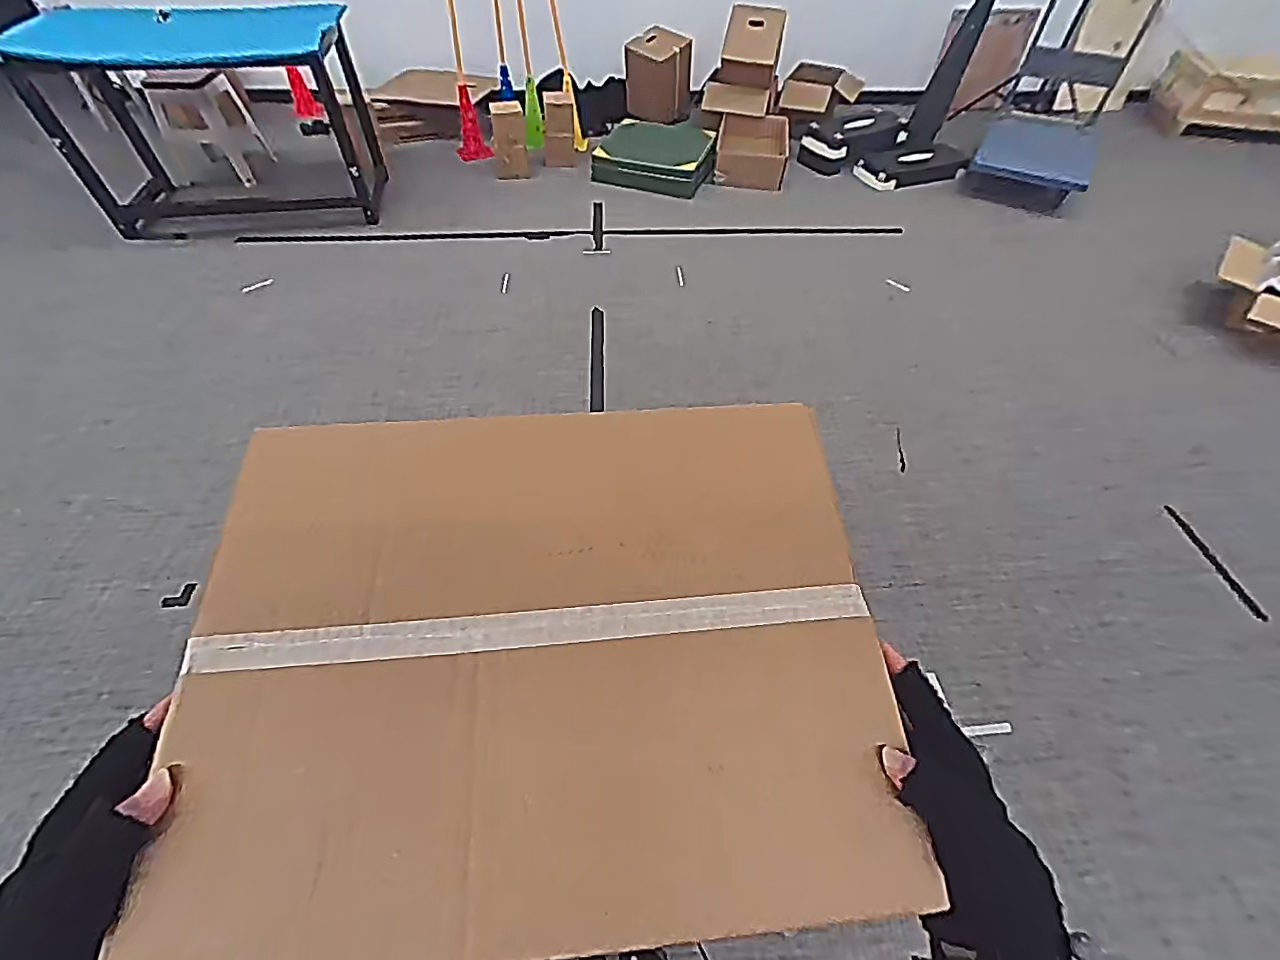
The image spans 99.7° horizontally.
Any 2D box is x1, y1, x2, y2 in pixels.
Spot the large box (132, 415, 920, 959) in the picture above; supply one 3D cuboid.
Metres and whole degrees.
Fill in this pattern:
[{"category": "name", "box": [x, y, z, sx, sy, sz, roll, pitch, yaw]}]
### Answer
[{"category": "large box", "box": [-0.065, 0.167, 0.467, 0.408, 0.320, 0.320, -4, 62, -4]}]
